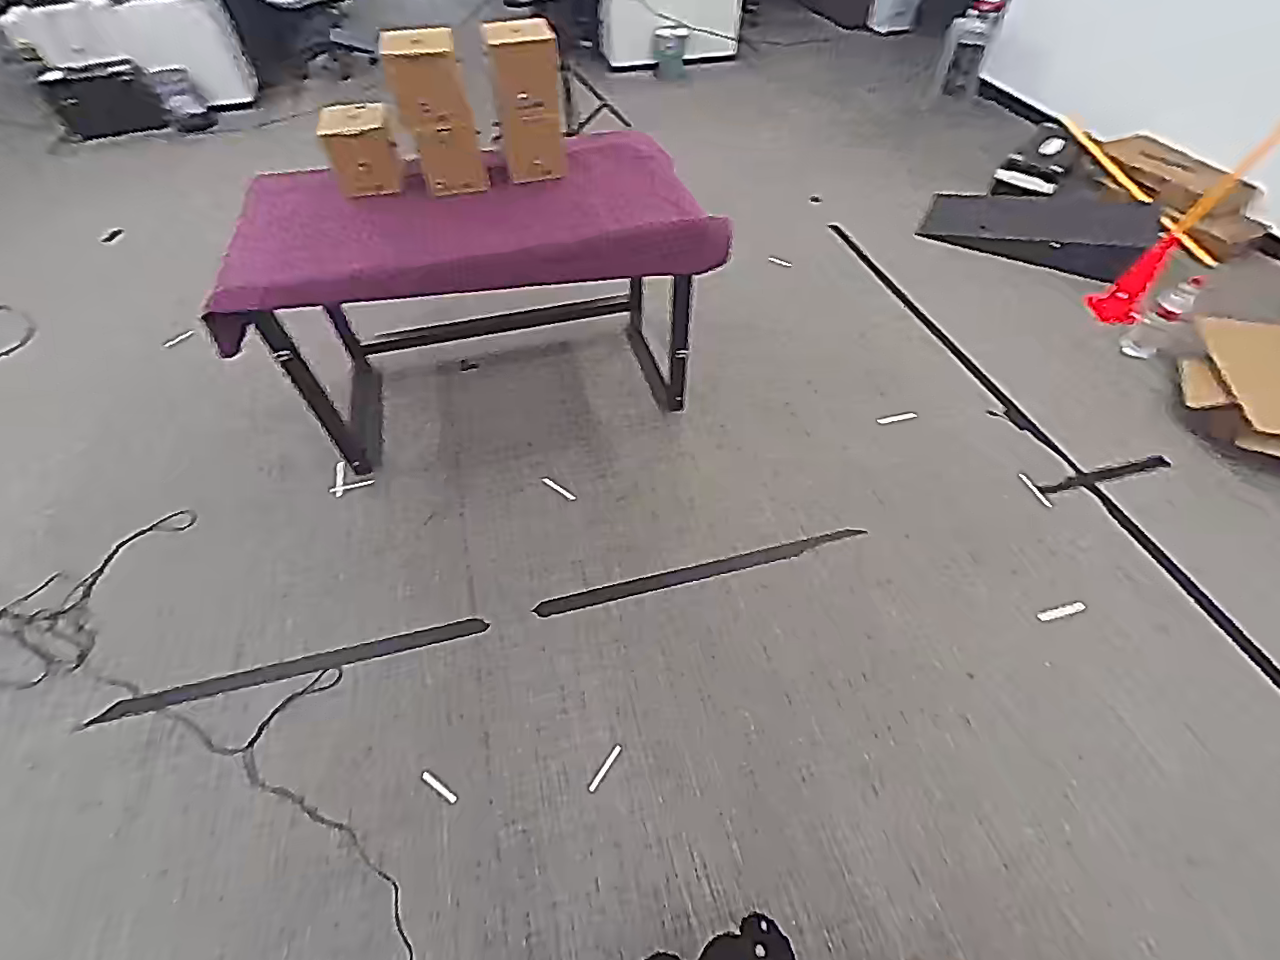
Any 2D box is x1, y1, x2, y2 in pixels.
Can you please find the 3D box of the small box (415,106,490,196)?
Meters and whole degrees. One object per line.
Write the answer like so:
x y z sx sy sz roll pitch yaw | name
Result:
-0.530 -0.927 1.534 0.168 0.176 0.179 -12 54 -9 | small box

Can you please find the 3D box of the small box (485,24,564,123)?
-0.308 -1.094 1.456 0.168 0.176 0.179 -15 55 -10 | small box

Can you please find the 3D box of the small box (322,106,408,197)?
-0.769 -0.920 1.528 0.168 0.176 0.179 -11 56 -8 | small box

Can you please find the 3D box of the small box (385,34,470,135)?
-0.545 -1.026 1.405 0.168 0.176 0.179 -10 55 -8 | small box

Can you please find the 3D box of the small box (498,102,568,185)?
-0.312 -0.991 1.582 0.168 0.176 0.179 -12 55 -8 | small box
